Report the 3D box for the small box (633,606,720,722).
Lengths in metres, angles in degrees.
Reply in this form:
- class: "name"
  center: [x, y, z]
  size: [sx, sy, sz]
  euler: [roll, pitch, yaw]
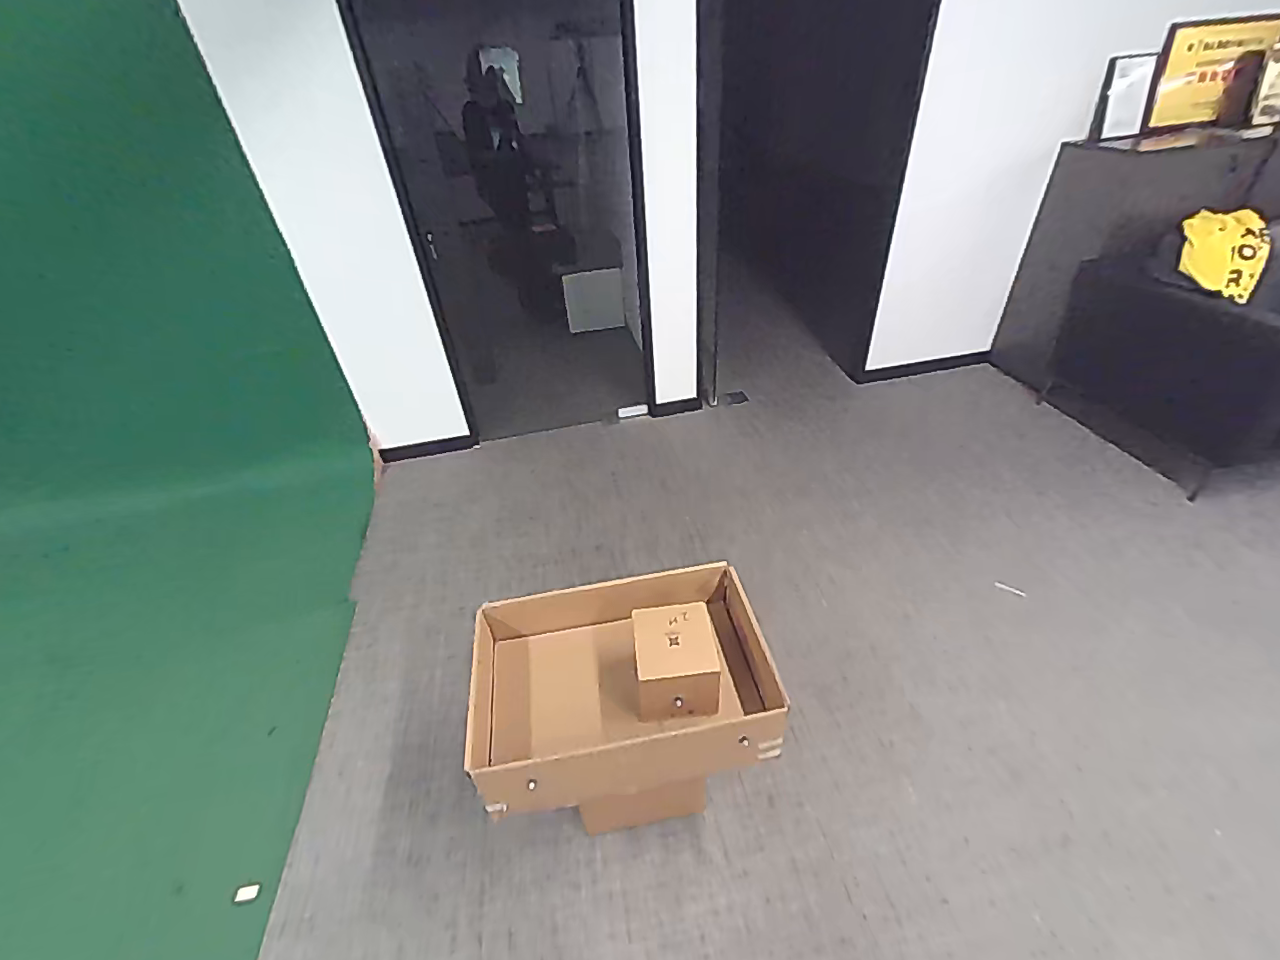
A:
- class: "small box"
  center: [0.077, 0.399, 1.161]
  size: [0.168, 0.176, 0.179]
  euler: [-6, 37, -2]
